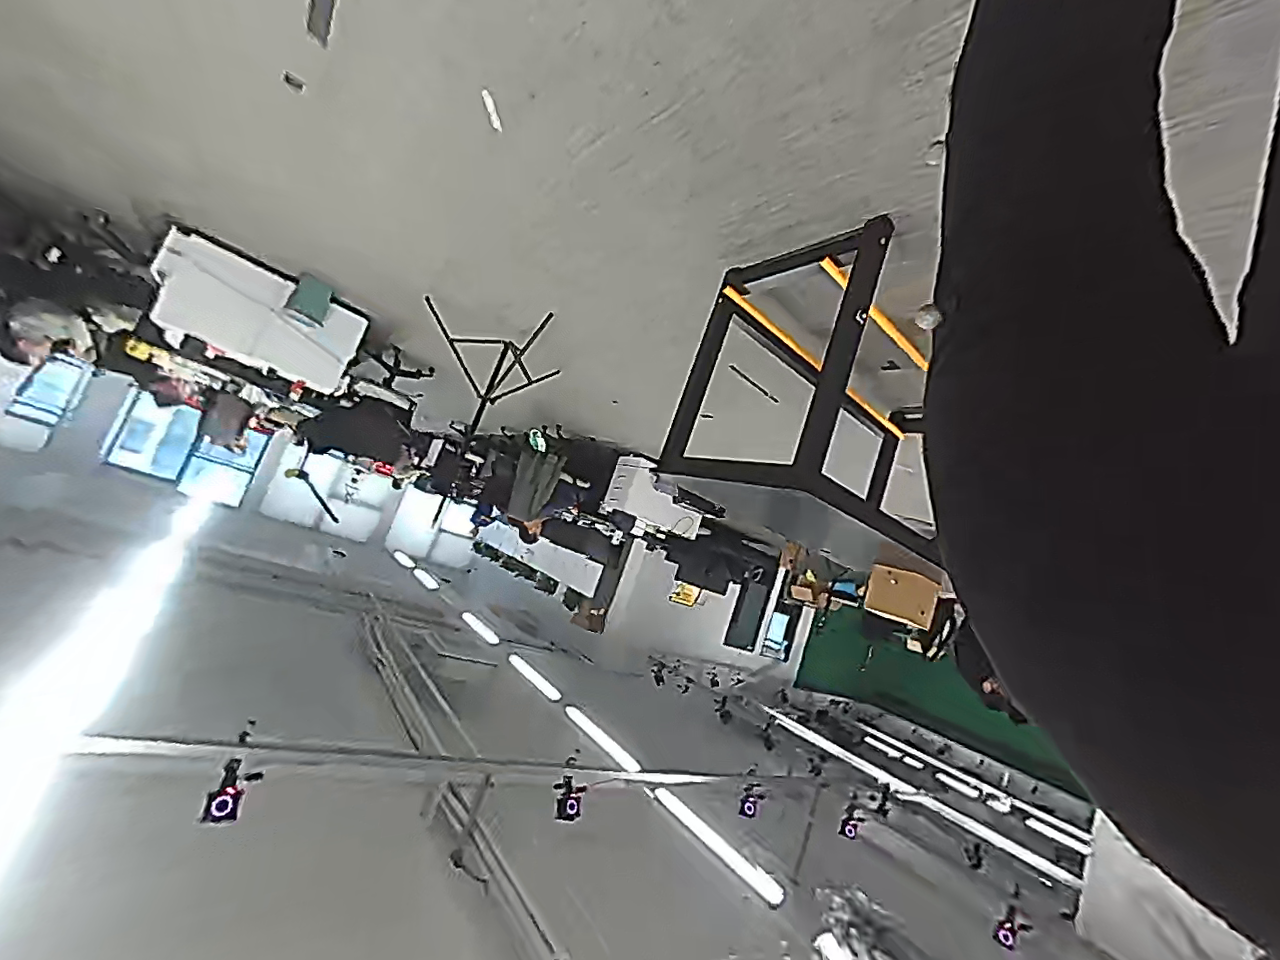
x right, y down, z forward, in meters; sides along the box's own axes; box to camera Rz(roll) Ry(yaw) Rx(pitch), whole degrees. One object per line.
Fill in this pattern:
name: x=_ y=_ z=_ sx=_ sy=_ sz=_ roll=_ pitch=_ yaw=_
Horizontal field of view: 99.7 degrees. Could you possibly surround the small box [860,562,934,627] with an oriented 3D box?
small box: x=0.932 y=0.410 z=1.951 sx=0.179 sy=0.176 sz=0.168 roll=26 pitch=170 yaw=-35
